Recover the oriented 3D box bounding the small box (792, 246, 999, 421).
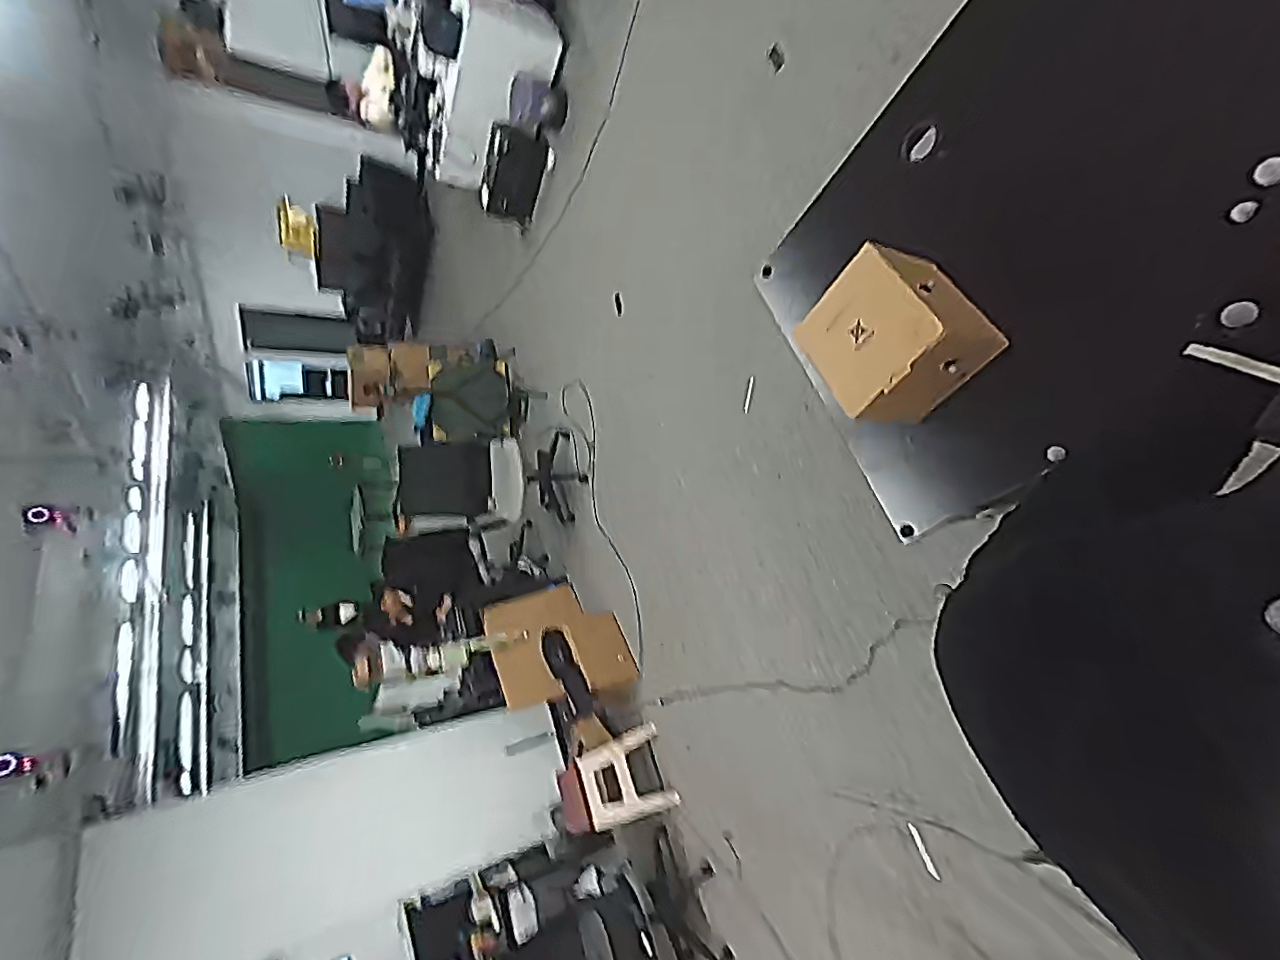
[{"bbox_3d":[0.364,-0.202,0.778,0.168,0.176,0.179,-54,49,43],"label":"small box"}]
